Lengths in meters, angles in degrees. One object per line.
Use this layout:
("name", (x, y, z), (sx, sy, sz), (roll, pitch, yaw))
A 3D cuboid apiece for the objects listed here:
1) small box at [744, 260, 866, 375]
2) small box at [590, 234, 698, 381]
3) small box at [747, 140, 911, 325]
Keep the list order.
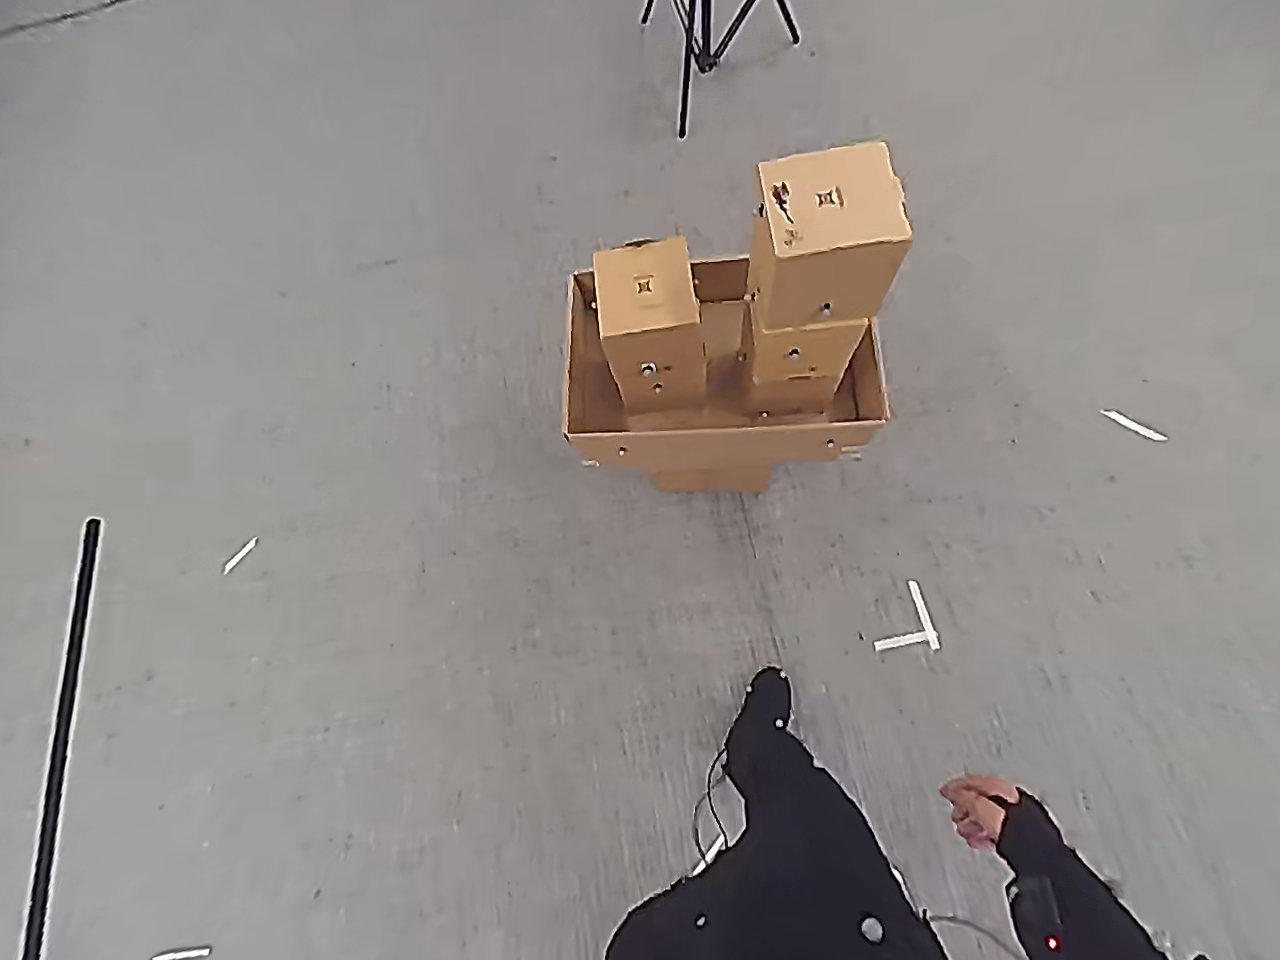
("small box", (0.275, -0.295, 0.939), (0.168, 0.176, 0.179), (-4, 72, 6))
("small box", (0.012, -0.302, 0.970), (0.168, 0.176, 0.179), (-8, 72, 6))
("small box", (0.258, -0.347, 0.784), (0.179, 0.176, 0.168), (-6, 71, 5))
